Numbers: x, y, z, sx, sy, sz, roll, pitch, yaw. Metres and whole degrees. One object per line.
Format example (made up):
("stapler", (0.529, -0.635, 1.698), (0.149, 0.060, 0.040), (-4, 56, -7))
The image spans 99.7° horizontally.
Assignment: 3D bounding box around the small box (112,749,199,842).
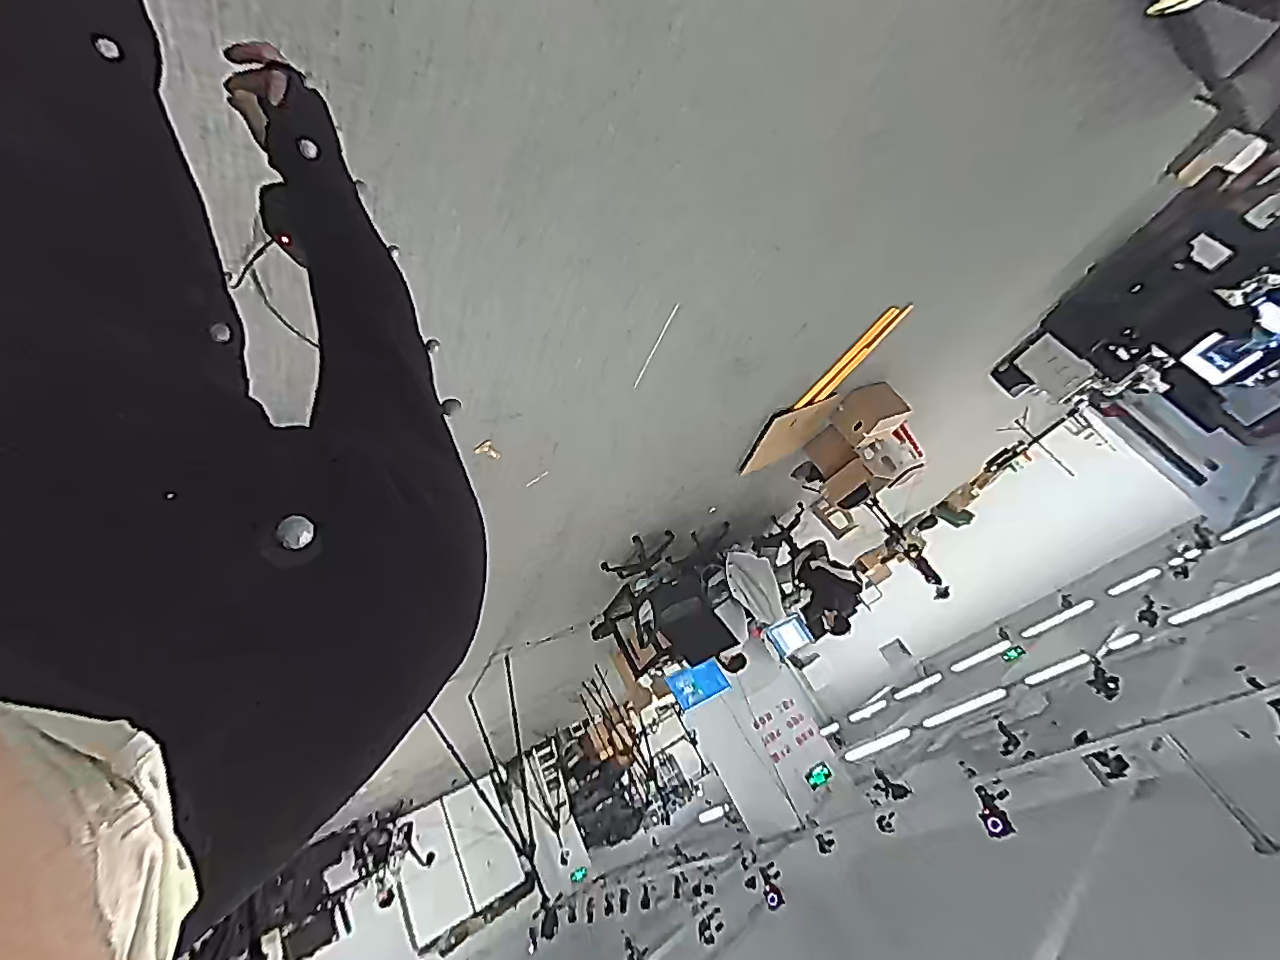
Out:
("small box", (-1.421, 0.921, 1.590), (0.168, 0.176, 0.179), (-11, 147, -37))
